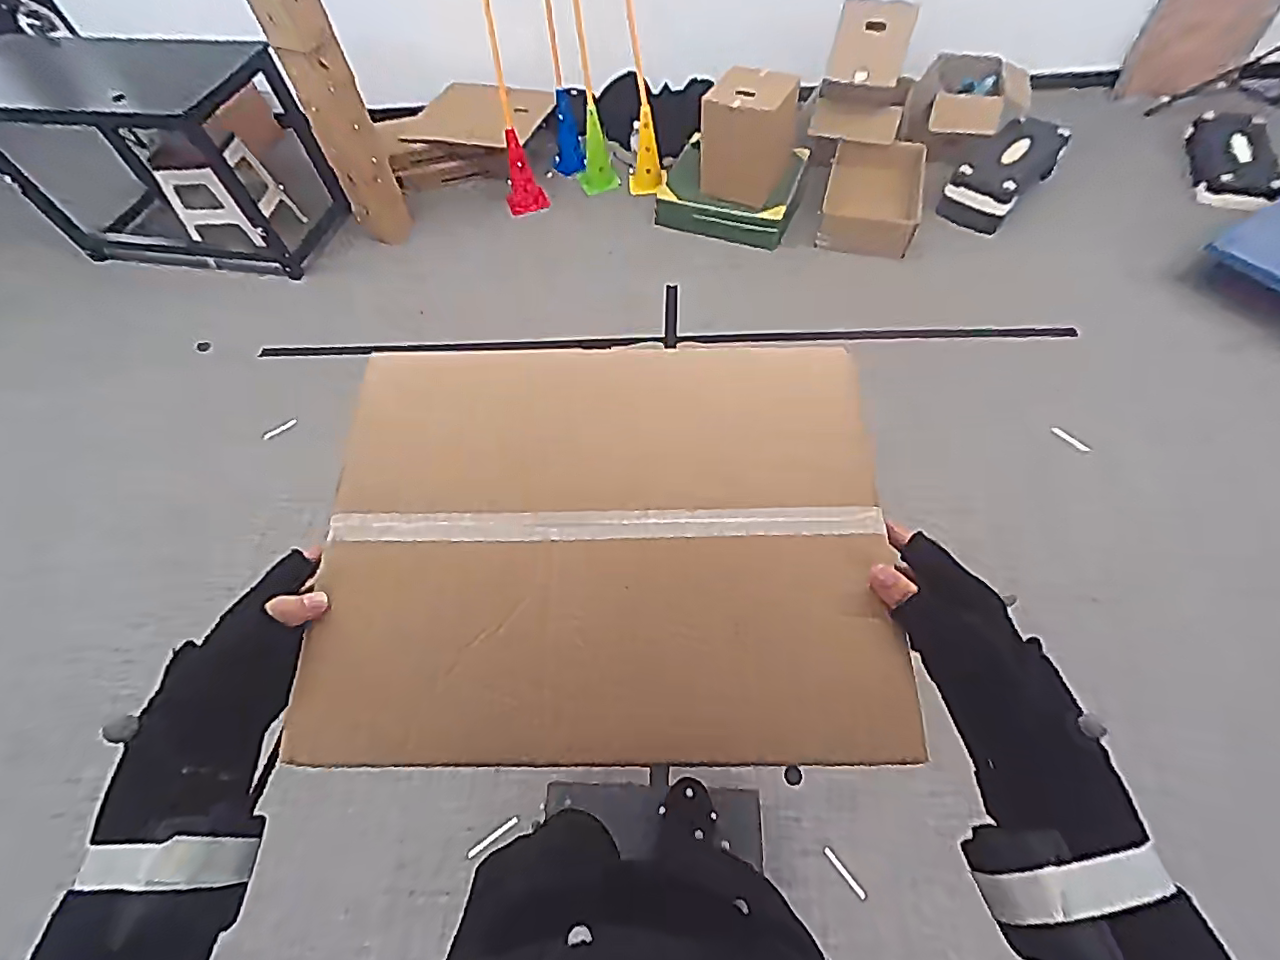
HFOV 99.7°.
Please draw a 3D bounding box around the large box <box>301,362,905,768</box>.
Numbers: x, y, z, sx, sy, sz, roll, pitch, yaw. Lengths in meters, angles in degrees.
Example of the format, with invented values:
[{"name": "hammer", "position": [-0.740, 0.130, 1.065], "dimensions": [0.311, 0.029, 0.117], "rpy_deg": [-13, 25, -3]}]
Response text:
[{"name": "large box", "position": [-0.023, 0.099, 0.545], "dimensions": [0.408, 0.320, 0.320], "rpy_deg": [0, 66, 0]}]
